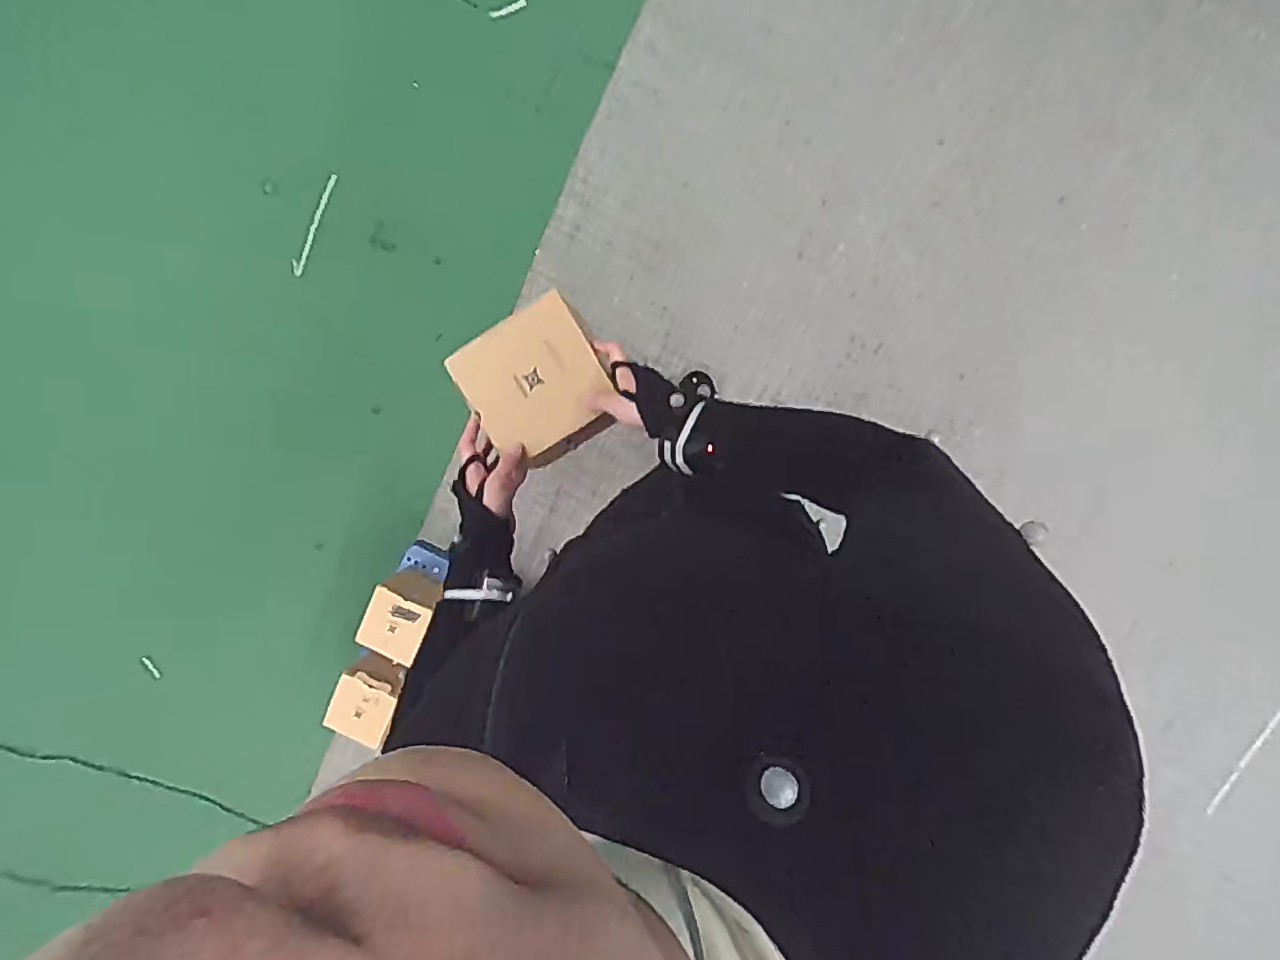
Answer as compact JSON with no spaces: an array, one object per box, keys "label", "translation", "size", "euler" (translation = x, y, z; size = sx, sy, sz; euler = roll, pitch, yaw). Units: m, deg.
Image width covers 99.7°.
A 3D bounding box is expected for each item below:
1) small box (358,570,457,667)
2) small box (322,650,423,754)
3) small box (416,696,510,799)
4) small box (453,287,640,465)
[{"label":"small box","translation":[-0.629,0.372,1.489],"size":[0.168,0.176,0.179],"euler":[26,100,1]},{"label":"small box","translation":[-0.739,0.613,1.514],"size":[0.168,0.176,0.179],"euler":[26,99,0]},{"label":"small box","translation":[-0.486,0.735,1.513],"size":[0.168,0.176,0.179],"euler":[27,98,1]},{"label":"small box","translation":[-0.118,-0.133,0.756],"size":[0.179,0.176,0.168],"euler":[-30,90,8]}]
